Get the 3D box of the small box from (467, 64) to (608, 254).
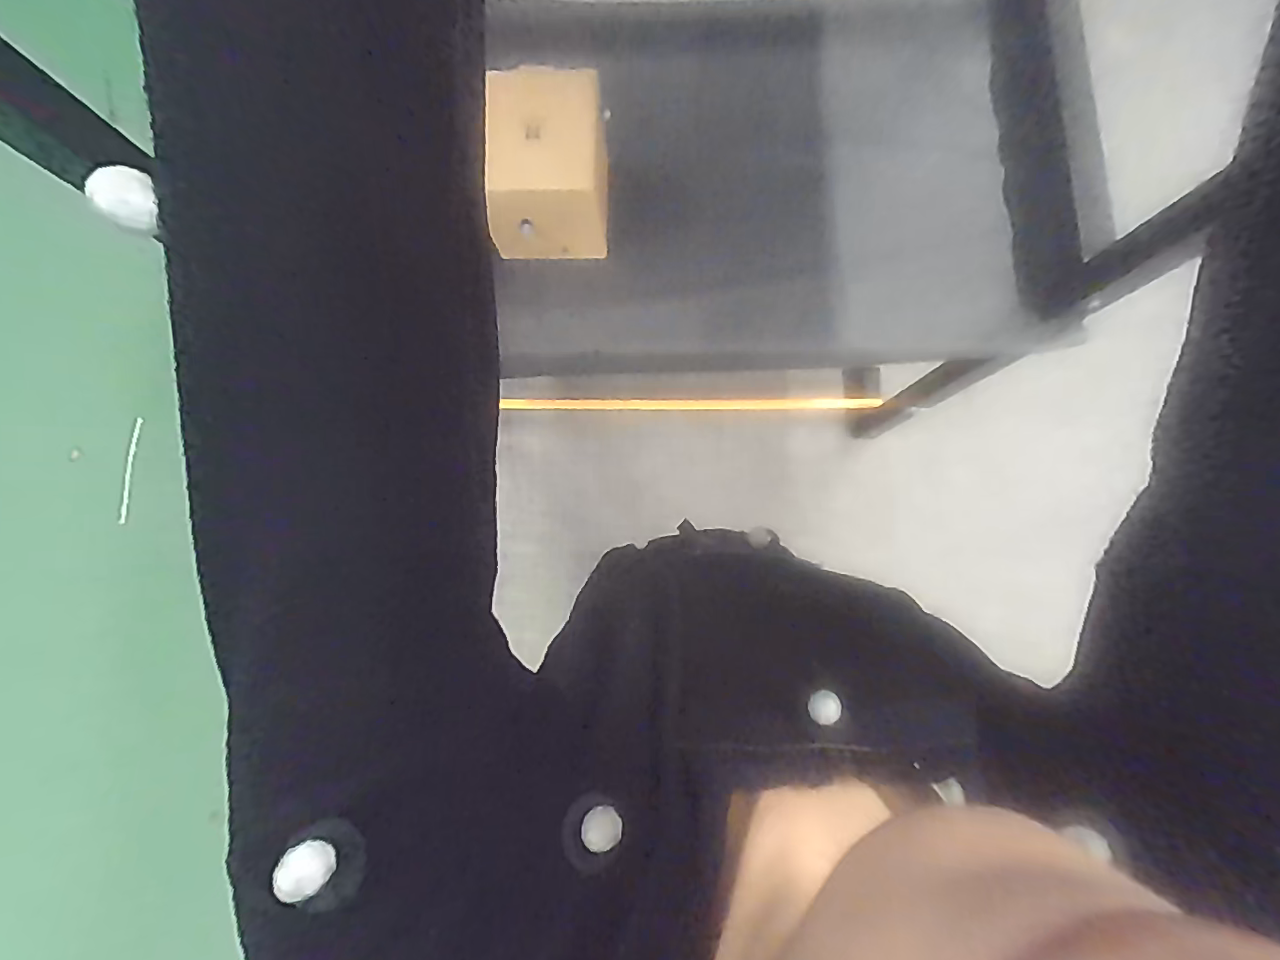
[{"bbox_3d":[-0.135,-0.443,0.773,0.168,0.176,0.179,0,81,1],"label":"small box"}]
